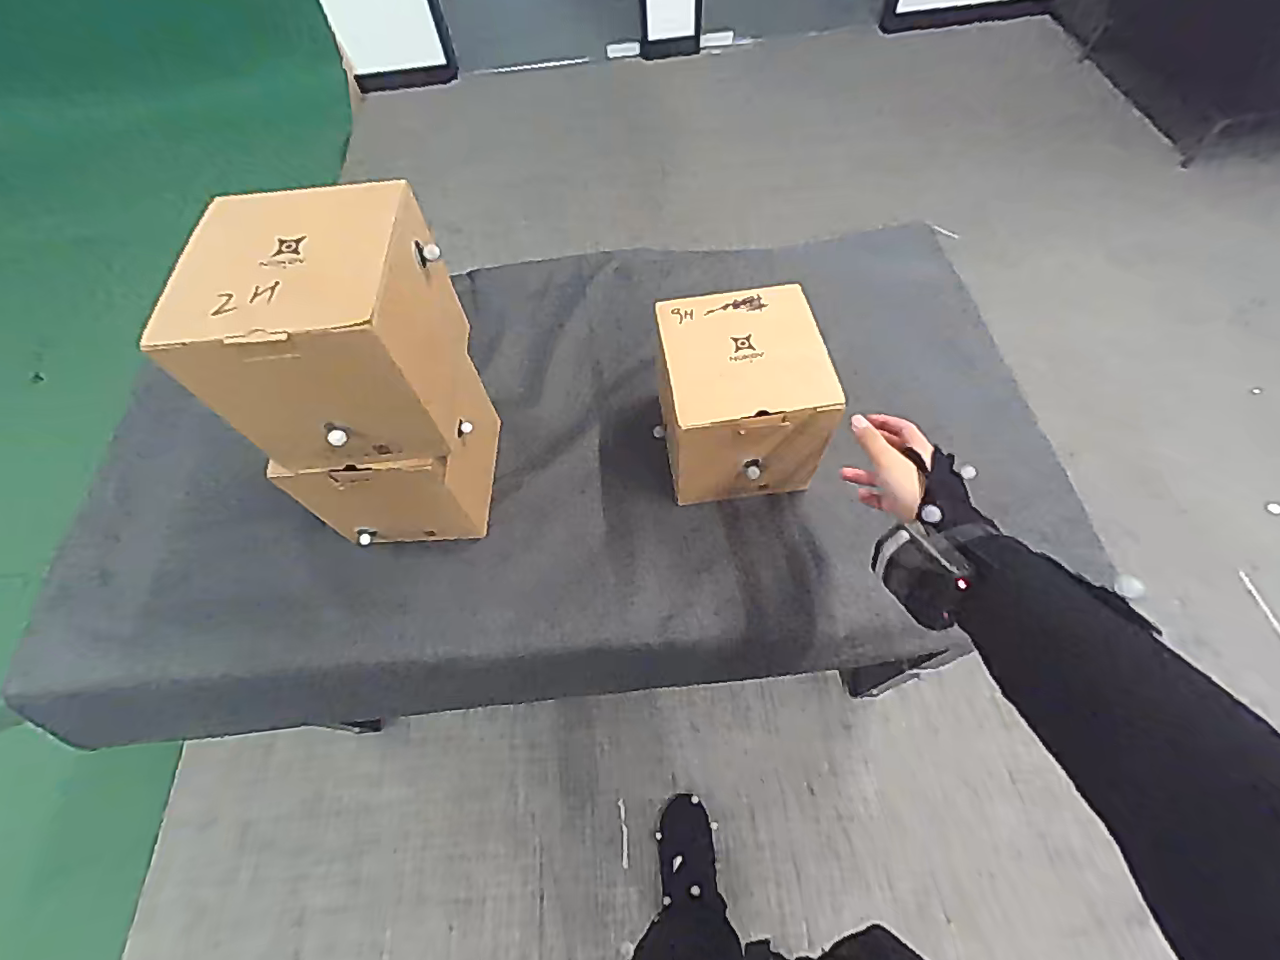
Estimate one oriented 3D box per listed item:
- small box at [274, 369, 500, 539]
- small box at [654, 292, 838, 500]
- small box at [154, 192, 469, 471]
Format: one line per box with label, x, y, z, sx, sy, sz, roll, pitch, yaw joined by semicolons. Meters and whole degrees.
small box;-0.272;-0.037;0.632;0.168;0.176;0.179;-3;59;2
small box;0.111;-0.088;0.636;0.168;0.176;0.179;-7;60;0
small box;-0.267;-0.129;0.494;0.168;0.176;0.179;-5;59;1
